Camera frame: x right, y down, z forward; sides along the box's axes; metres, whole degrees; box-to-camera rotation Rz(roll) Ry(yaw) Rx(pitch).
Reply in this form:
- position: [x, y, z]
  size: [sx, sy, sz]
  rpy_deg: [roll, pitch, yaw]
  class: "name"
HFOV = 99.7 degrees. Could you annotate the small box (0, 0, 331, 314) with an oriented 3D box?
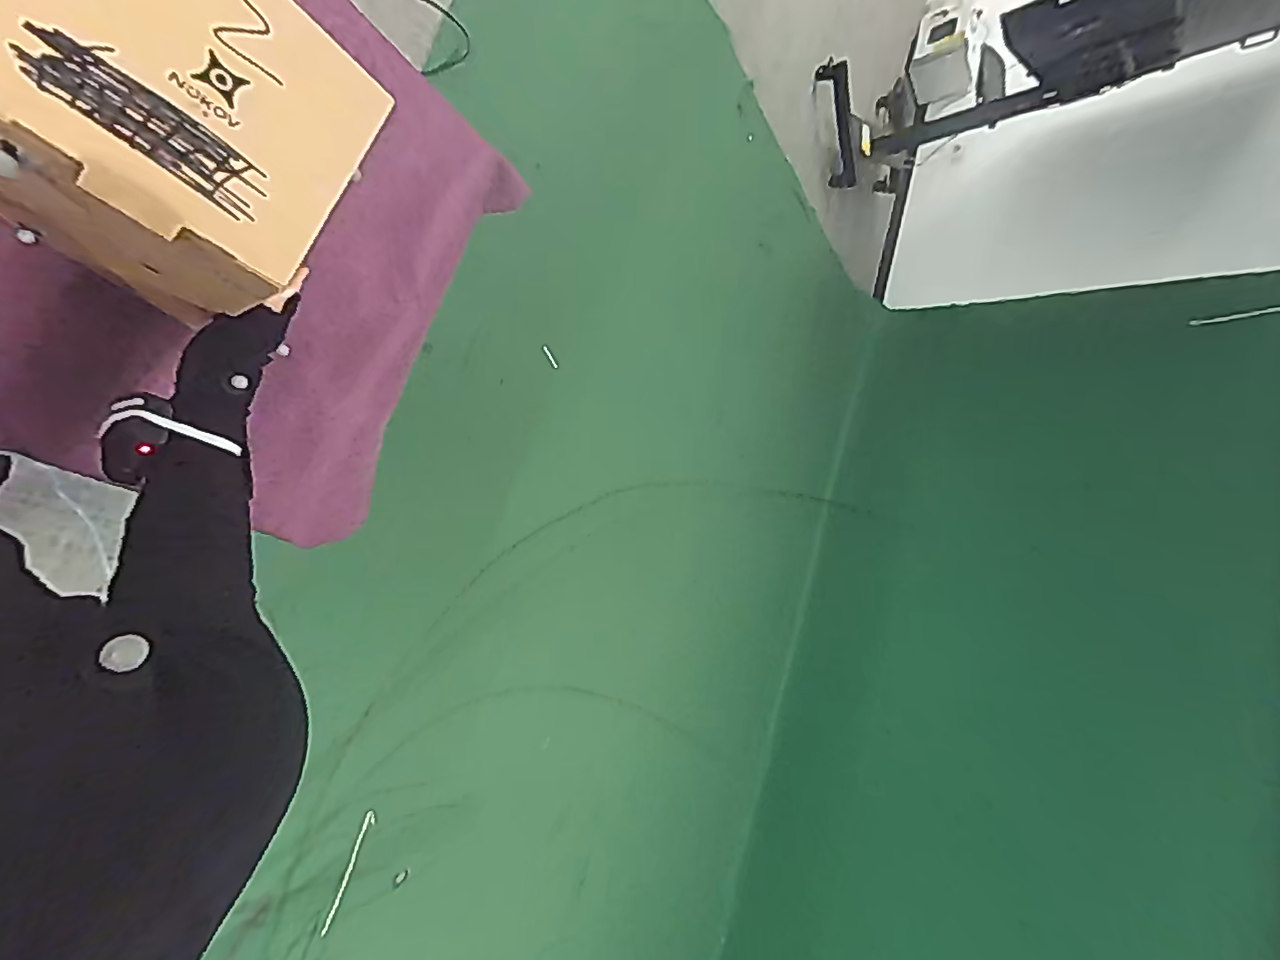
- position: [-0.434, -0.276, 0.501]
  size: [0.168, 0.176, 0.179]
  rpy_deg: [38, 67, -44]
  class: "small box"
